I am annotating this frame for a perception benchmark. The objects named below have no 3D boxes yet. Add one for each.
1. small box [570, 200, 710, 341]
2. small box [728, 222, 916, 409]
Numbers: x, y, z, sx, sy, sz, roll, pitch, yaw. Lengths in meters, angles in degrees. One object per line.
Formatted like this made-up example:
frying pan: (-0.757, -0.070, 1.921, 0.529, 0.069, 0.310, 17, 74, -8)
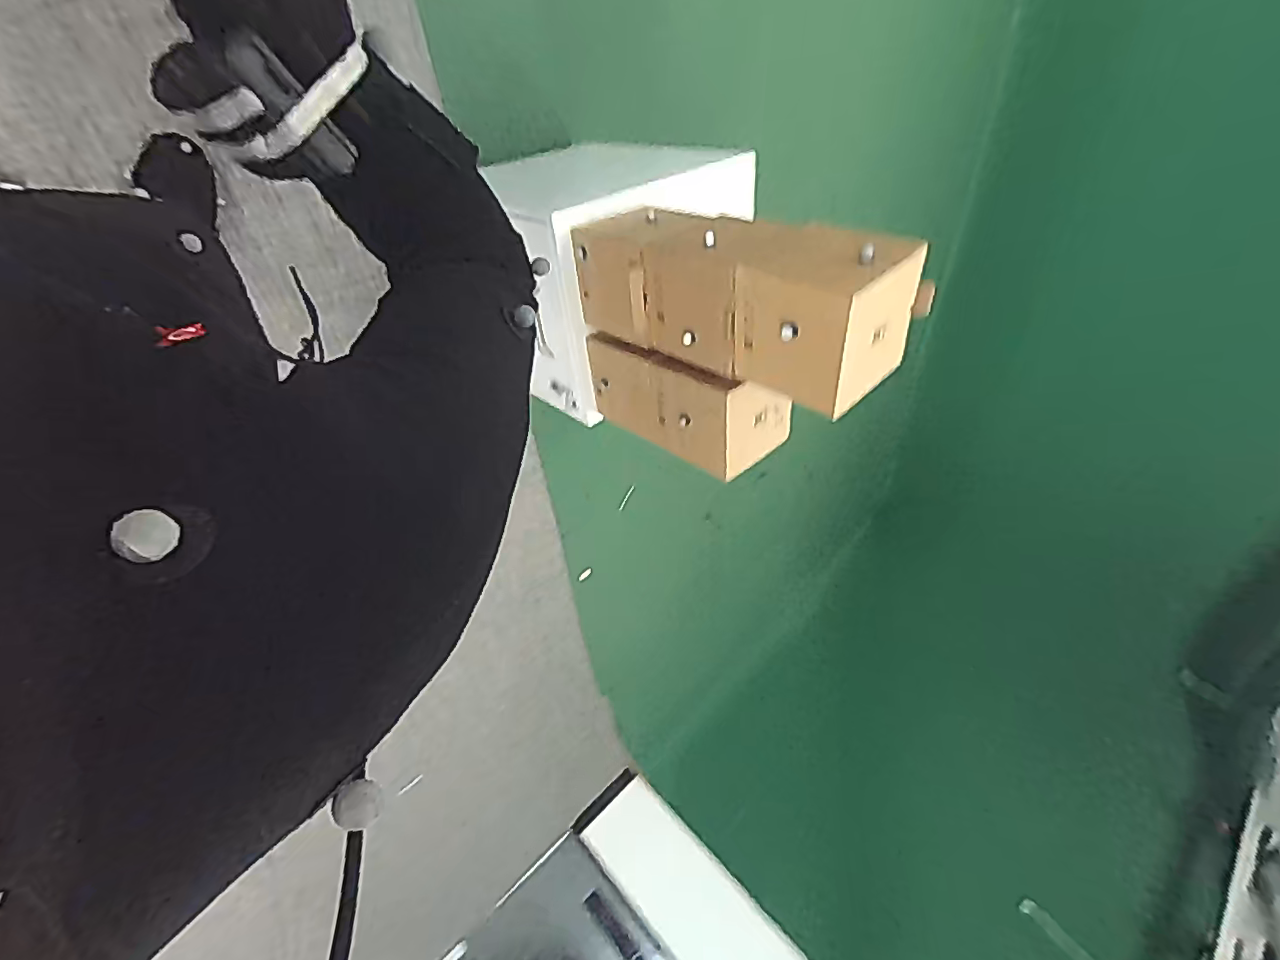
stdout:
small box: (-0.002, -0.358, 0.911, 0.179, 0.176, 0.168, -35, 138, -30)
small box: (0.232, -0.227, 0.727, 0.179, 0.176, 0.168, -38, 140, -27)
